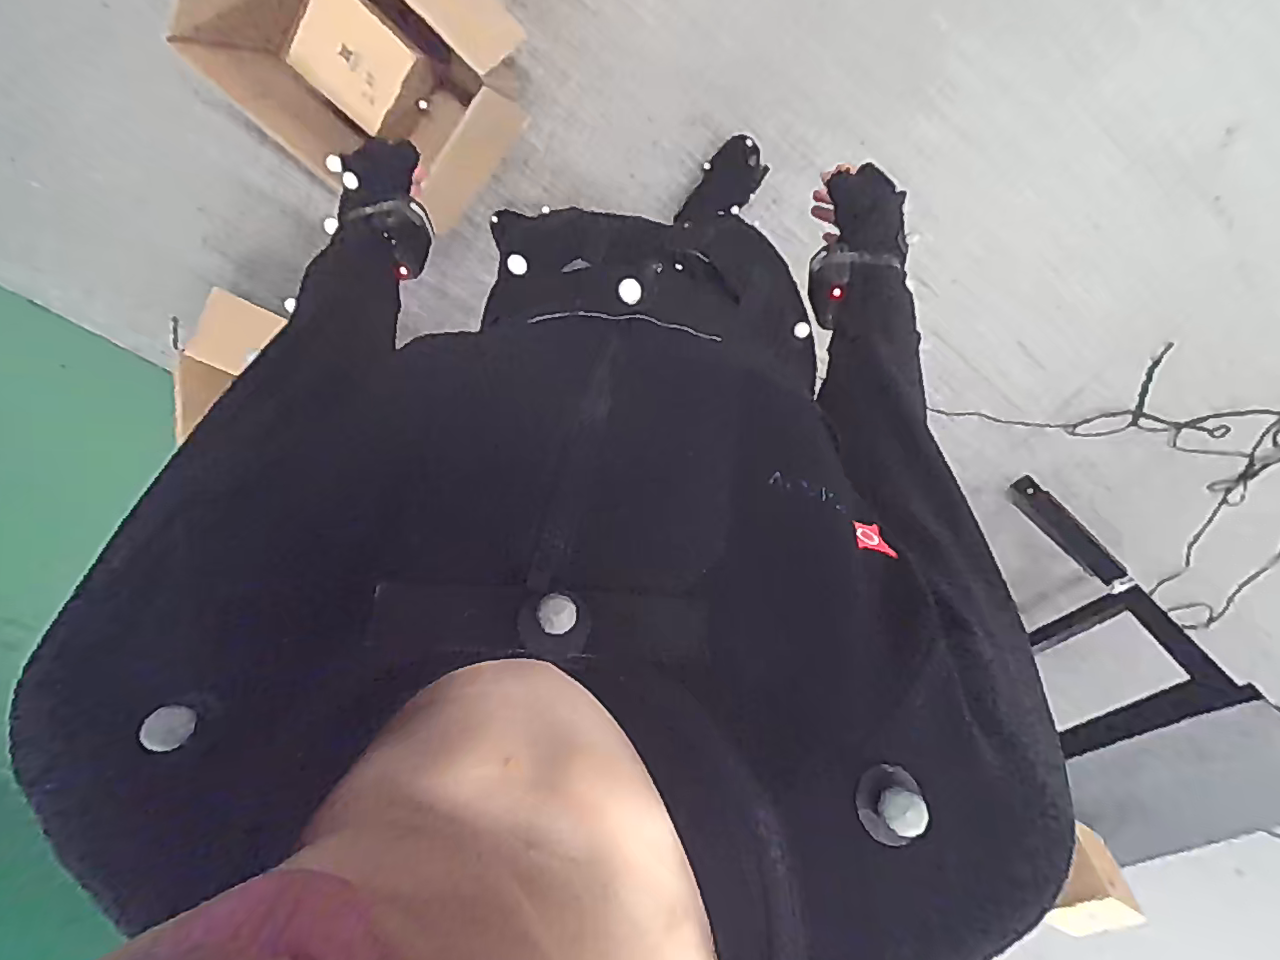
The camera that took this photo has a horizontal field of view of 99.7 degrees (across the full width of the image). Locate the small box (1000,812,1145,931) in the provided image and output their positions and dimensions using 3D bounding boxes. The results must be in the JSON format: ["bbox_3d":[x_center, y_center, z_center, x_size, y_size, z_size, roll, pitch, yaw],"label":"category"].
[{"bbox_3d":[0.989,0.902,1.250,0.179,0.176,0.168,35,119,-19],"label":"small box"}]
